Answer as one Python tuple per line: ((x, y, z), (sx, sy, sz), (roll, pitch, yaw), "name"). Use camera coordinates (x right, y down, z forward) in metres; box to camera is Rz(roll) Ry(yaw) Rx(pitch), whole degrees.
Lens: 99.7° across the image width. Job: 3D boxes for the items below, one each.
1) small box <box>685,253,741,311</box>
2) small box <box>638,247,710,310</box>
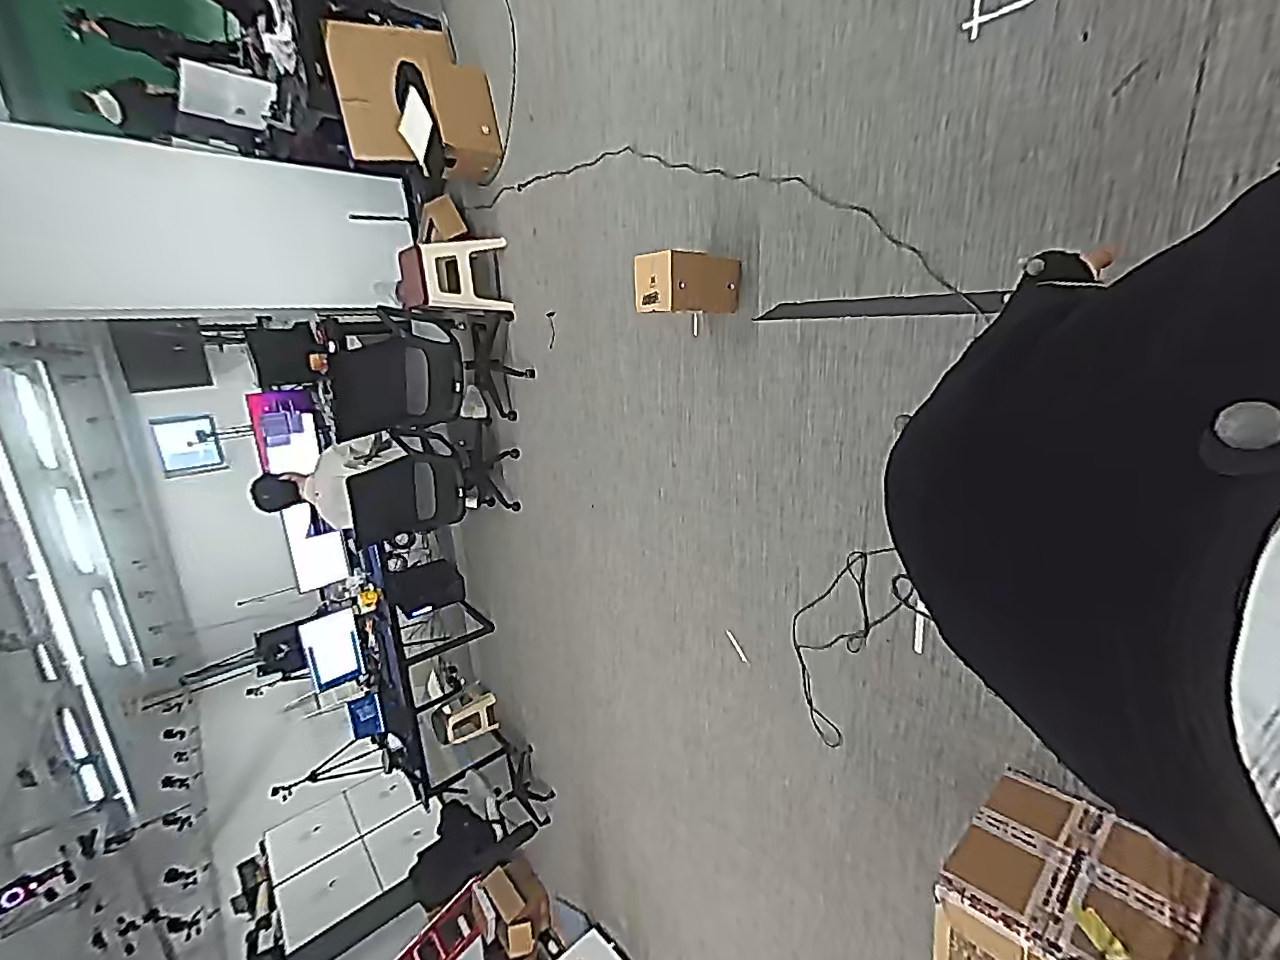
((0.225, -0.673, 1.840), (0.168, 0.176, 0.179), (24, 119, 44), "small box")
((0.110, -0.639, 1.725), (0.168, 0.176, 0.179), (17, 115, 47), "small box")
